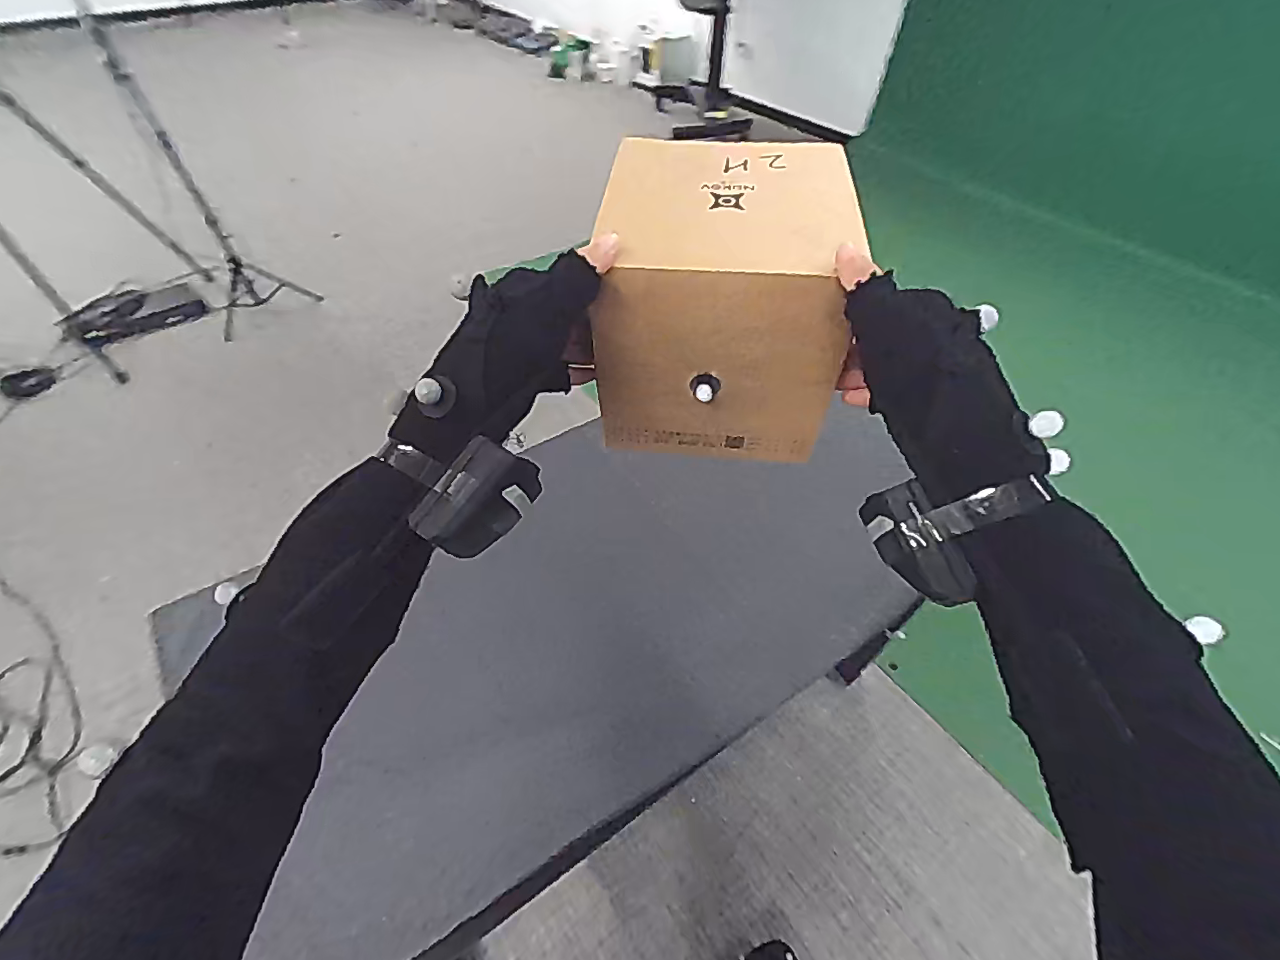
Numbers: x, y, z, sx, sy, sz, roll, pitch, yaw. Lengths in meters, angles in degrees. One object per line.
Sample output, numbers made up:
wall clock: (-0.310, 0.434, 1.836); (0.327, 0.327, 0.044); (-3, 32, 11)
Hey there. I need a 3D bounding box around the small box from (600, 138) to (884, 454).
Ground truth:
small box: (0.070, -0.139, 0.421); (0.168, 0.176, 0.179); (5, 53, 5)
